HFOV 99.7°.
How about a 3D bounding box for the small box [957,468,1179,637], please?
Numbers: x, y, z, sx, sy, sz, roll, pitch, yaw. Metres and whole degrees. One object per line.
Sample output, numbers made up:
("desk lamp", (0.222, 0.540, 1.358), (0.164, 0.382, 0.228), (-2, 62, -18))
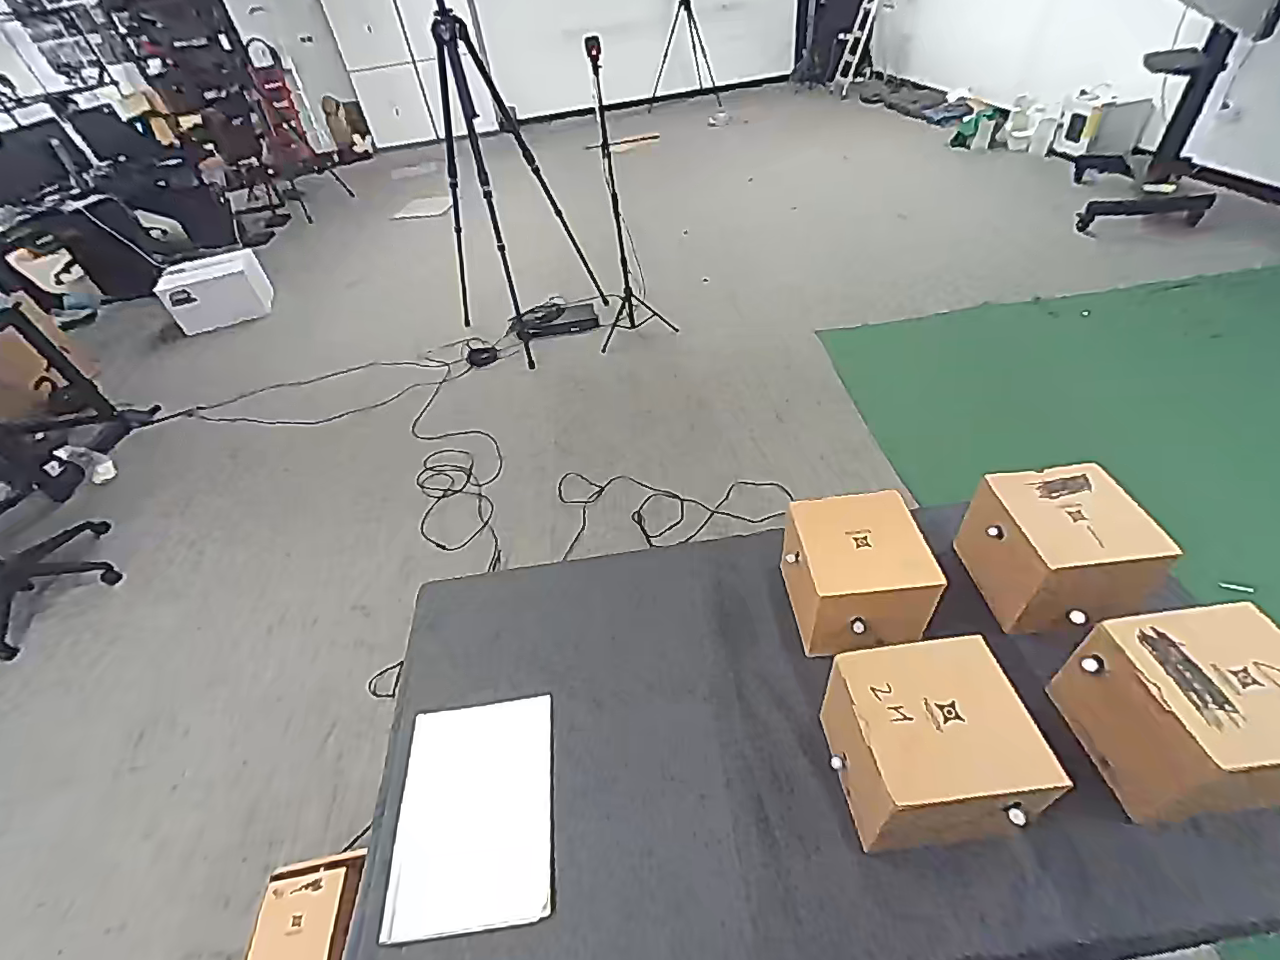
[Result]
("small box", (0.604, 0.107, 0.798), (0.168, 0.176, 0.179), (-7, 43, 3))

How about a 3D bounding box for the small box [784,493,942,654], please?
("small box", (0.318, 0.146, 0.812), (0.168, 0.176, 0.179), (-7, 43, 3))

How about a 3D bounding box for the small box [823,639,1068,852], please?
("small box", (0.329, 0.310, 0.630), (0.179, 0.176, 0.168), (-8, 42, 2))
